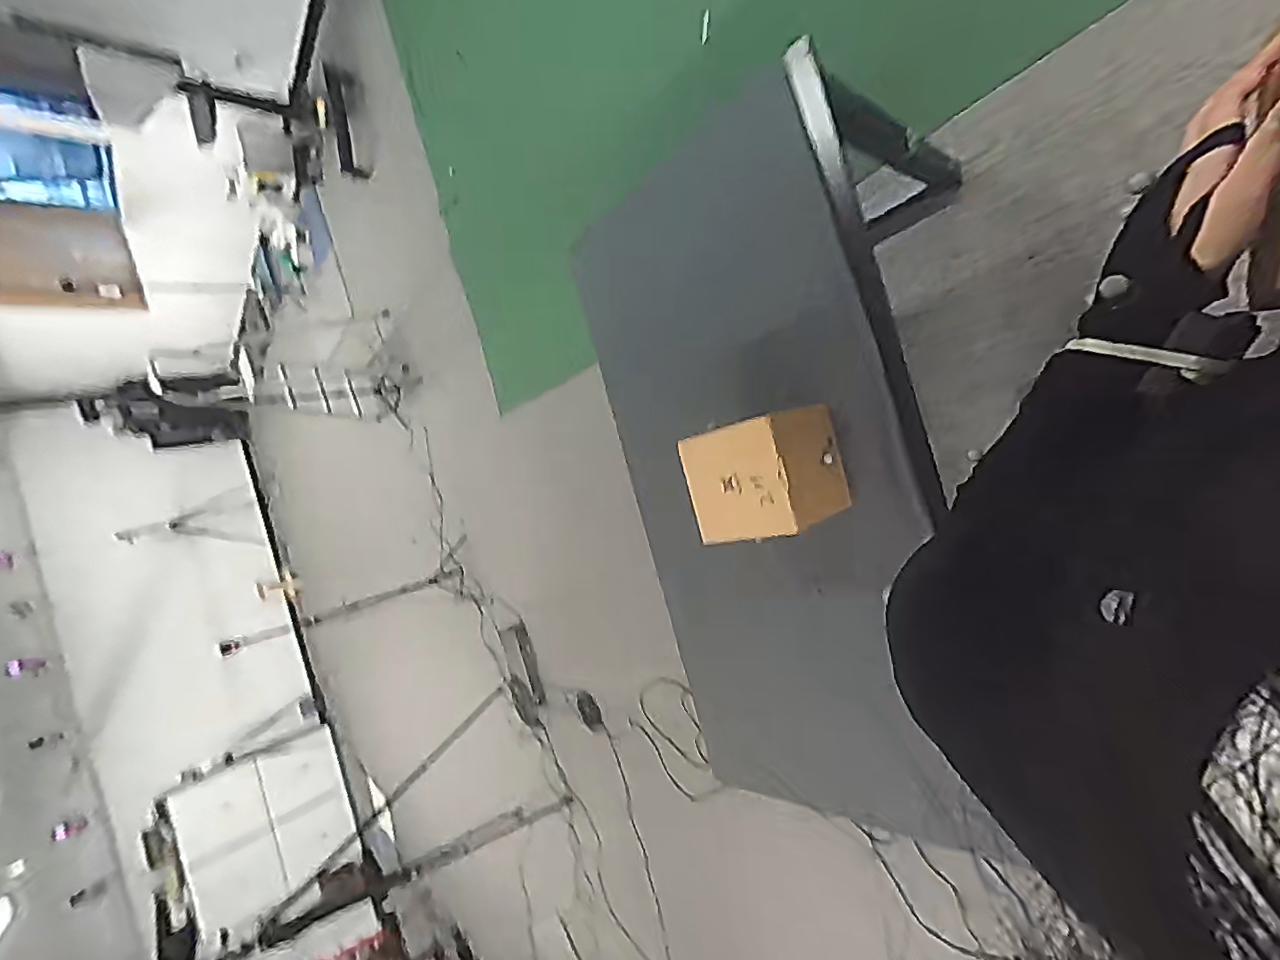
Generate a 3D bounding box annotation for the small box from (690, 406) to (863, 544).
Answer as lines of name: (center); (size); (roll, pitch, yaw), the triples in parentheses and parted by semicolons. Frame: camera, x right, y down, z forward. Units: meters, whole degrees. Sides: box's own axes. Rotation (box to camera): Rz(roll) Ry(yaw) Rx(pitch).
small box: (0.210, -0.007, 0.836); (0.179, 0.176, 0.168); (-16, 89, 48)
